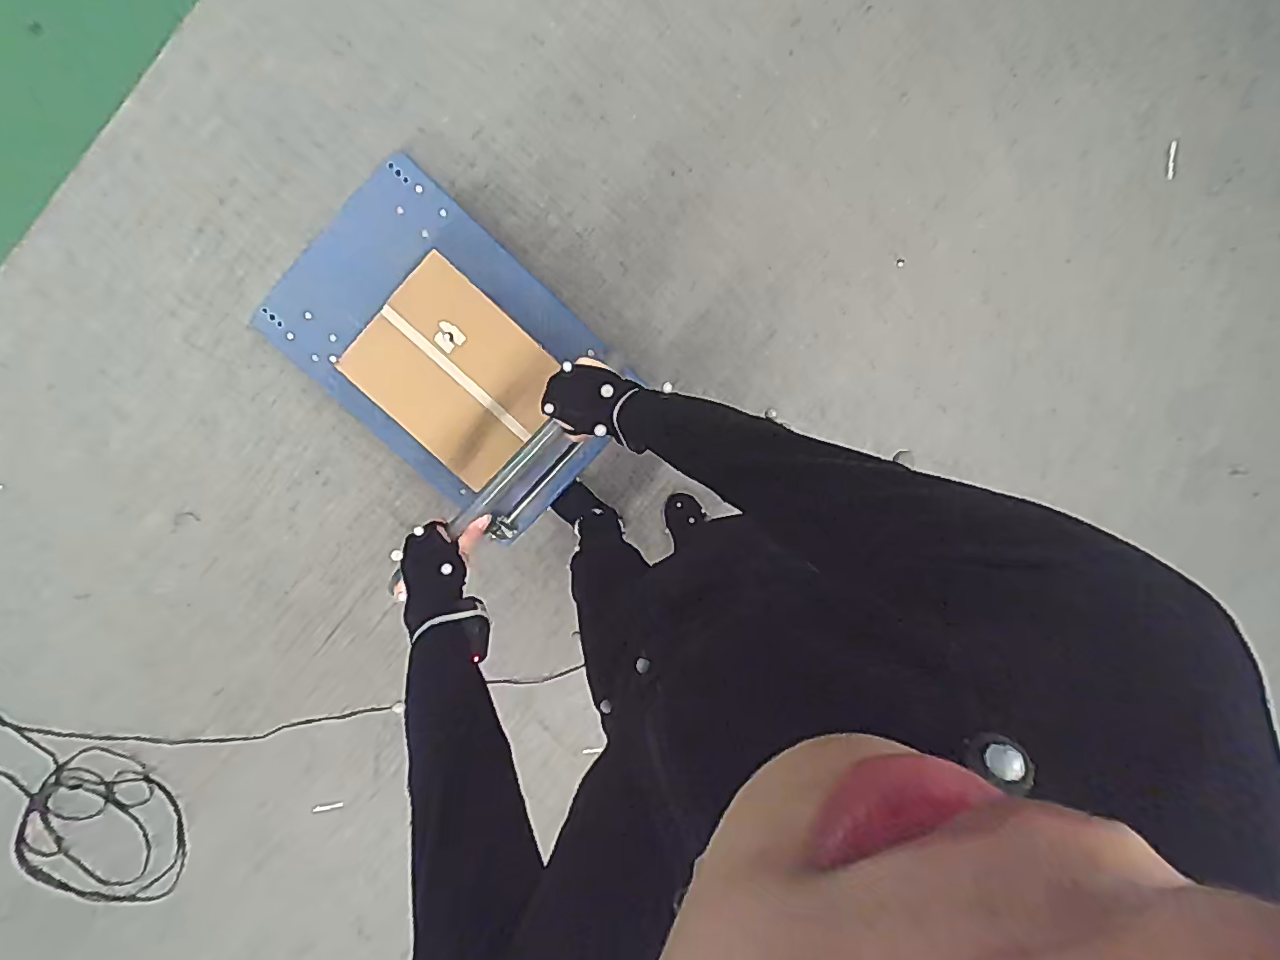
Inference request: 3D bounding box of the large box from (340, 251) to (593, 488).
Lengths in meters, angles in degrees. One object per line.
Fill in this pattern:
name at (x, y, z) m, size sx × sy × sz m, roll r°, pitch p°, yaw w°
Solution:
large box at (-0.366, -0.234, 1.252) m, size 0.408 × 0.320 × 0.320 m, roll 43°, pitch 93°, yaw -4°
